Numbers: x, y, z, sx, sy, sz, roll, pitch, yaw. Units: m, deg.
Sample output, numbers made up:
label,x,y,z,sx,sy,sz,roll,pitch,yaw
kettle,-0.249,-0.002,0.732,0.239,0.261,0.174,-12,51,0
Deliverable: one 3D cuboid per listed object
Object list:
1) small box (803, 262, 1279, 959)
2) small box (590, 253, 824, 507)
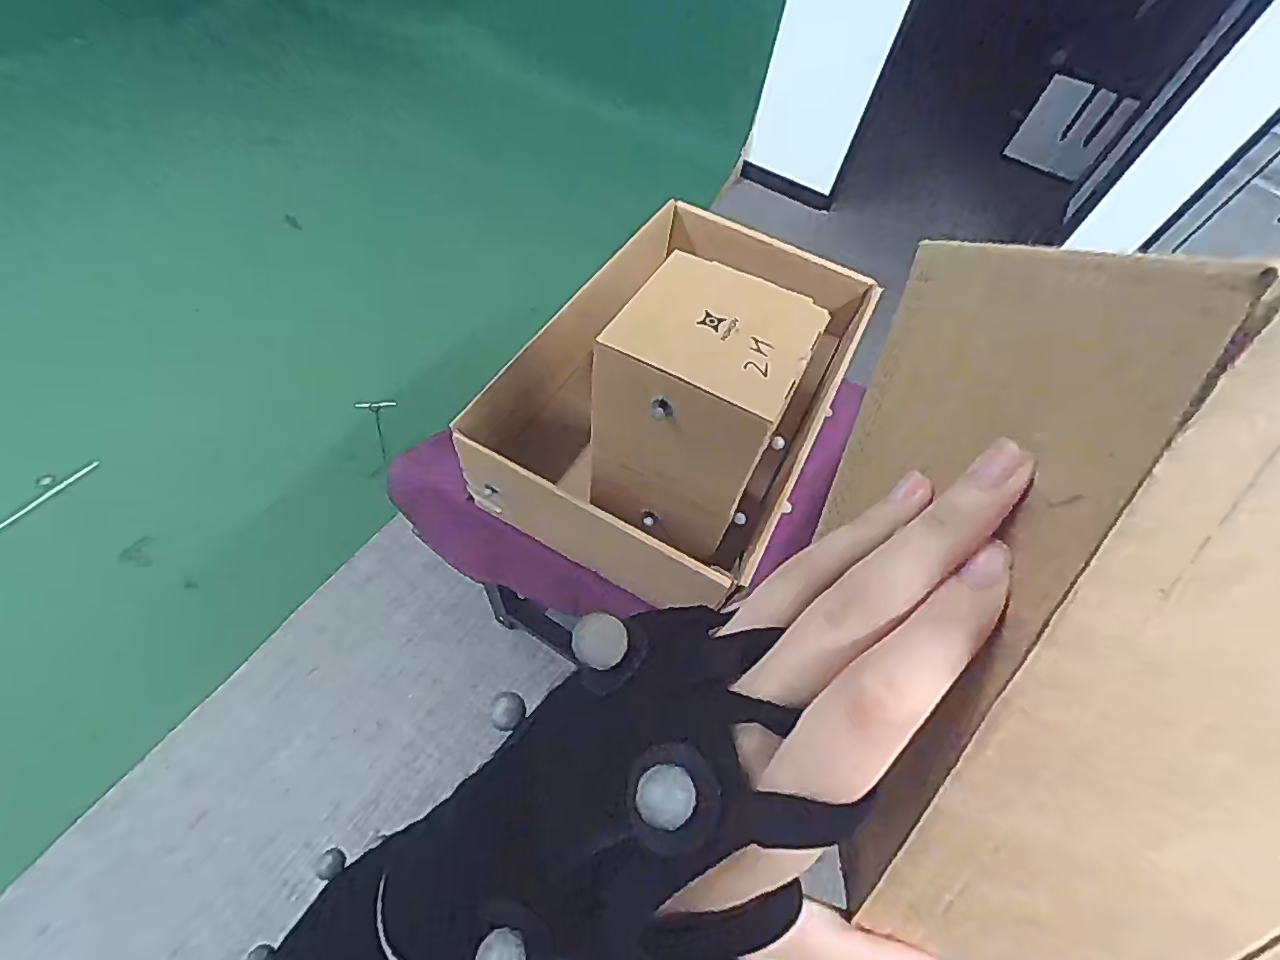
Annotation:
label,x,y,z,sx,sy,sz,roll,pitch,yaw
small box,0.161,0.033,0.182,0.168,0.179,0.176,12,27,6
small box,0.060,-0.099,0.572,0.179,0.176,0.168,27,59,11
